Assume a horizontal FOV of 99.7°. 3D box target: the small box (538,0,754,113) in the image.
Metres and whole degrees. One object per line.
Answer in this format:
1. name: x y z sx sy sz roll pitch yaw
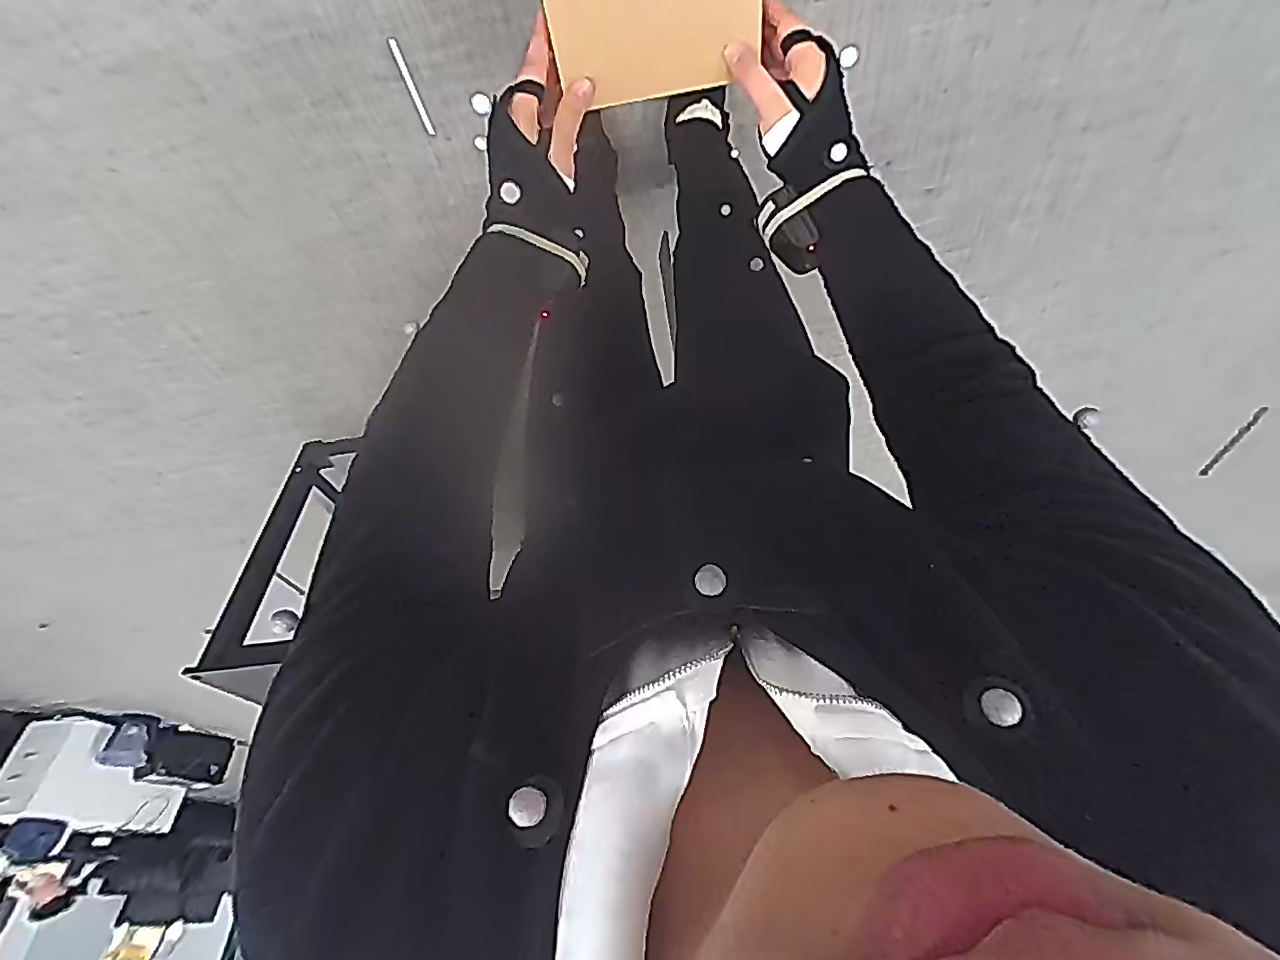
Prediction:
1. small box: -0.002 -0.441 0.442 0.168 0.176 0.179 -8 140 5
